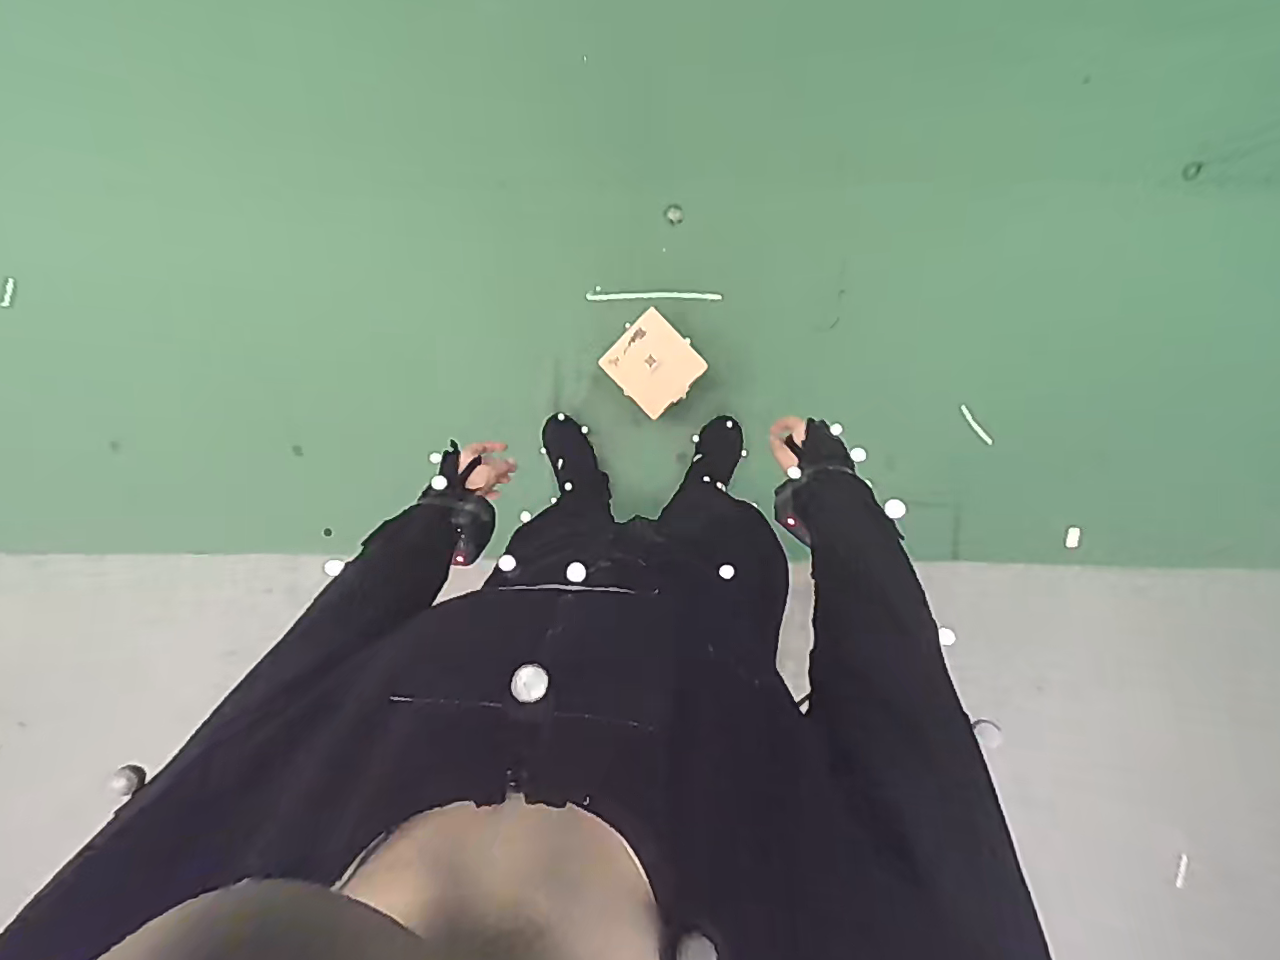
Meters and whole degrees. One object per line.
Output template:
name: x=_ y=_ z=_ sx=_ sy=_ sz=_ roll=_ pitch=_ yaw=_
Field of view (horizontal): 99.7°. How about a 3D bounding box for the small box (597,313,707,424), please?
small box: x=0.030 y=-0.250 z=1.214 sx=0.168 sy=0.176 sz=0.179 roll=-44 pitch=96 yaw=9
